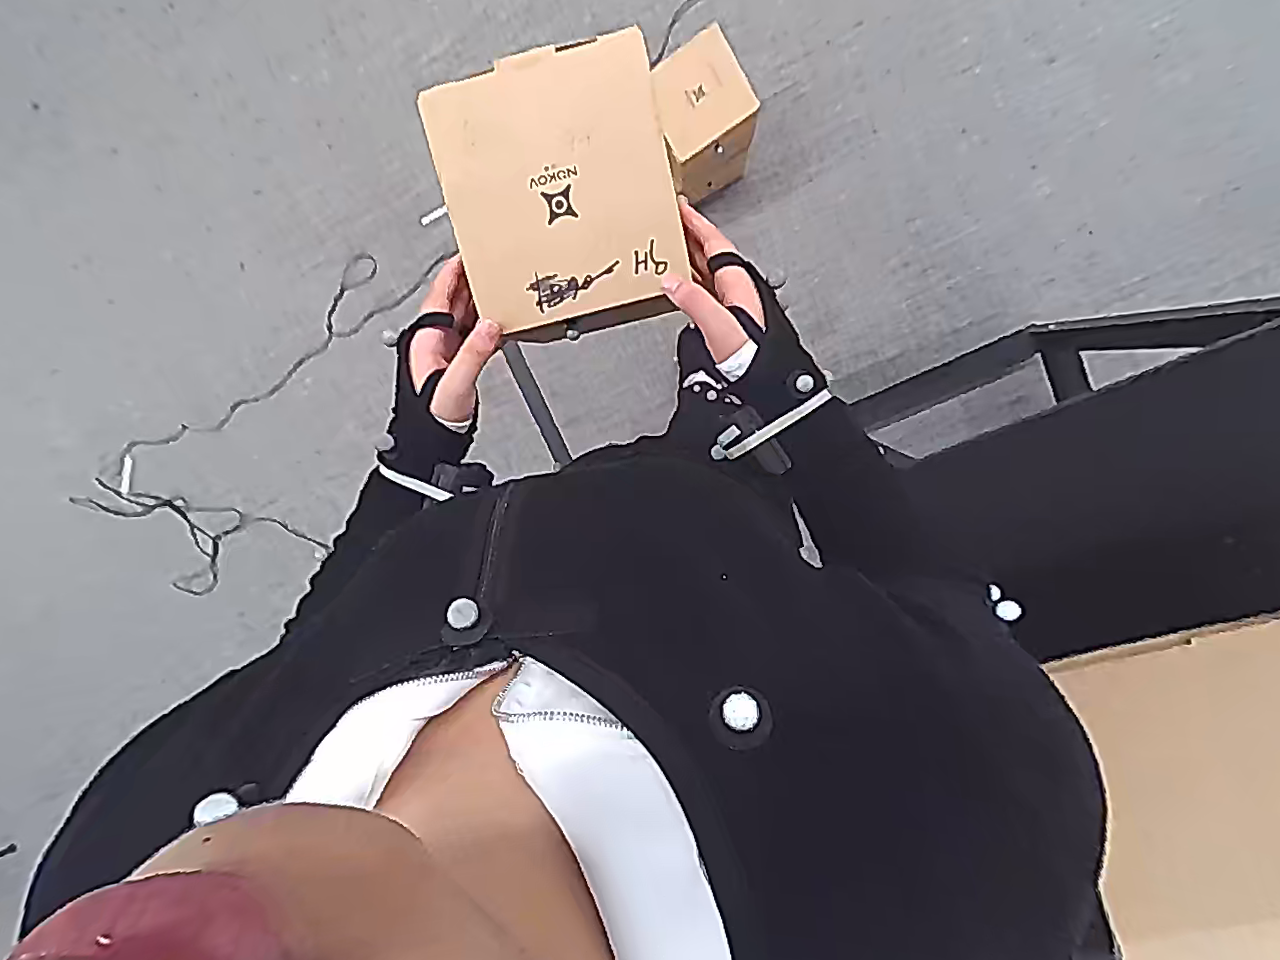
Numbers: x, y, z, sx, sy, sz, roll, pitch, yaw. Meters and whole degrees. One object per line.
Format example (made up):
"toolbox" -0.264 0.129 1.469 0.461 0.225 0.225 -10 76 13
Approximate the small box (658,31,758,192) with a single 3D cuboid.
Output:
"small box" 0.114 -0.713 1.075 0.179 0.176 0.168 -31 97 10

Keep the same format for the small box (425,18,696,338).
"small box" -0.052 -0.232 0.468 0.168 0.176 0.179 -13 101 6

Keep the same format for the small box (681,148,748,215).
"small box" 0.128 -0.741 1.234 0.179 0.176 0.168 -27 97 12
